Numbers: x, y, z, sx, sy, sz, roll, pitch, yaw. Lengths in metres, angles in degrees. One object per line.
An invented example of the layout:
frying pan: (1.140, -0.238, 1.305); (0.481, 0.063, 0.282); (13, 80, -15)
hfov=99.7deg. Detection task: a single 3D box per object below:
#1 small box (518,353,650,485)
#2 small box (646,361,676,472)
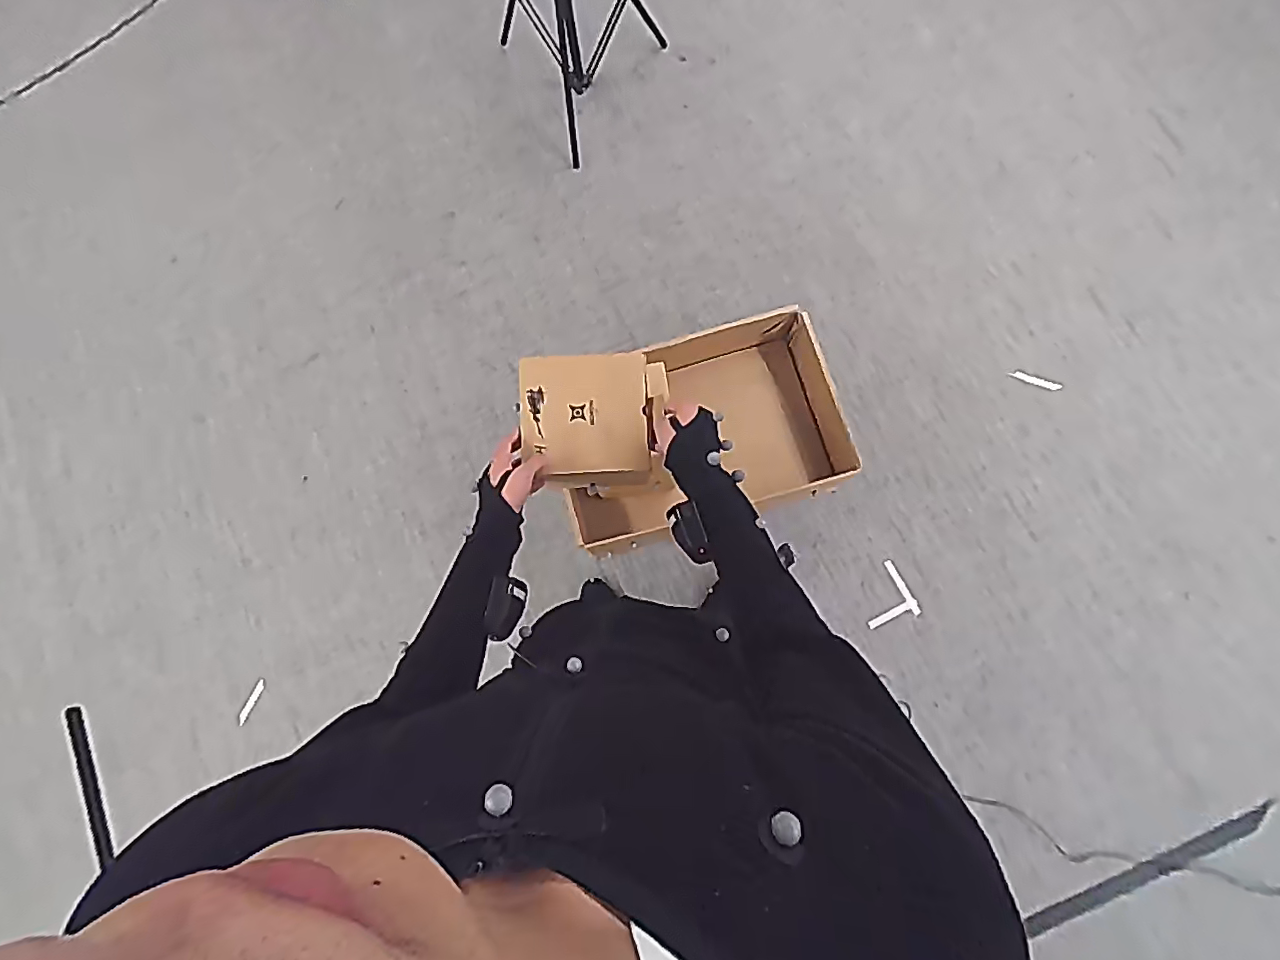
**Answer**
small box: (-0.080, -0.083, 0.807); (0.179, 0.176, 0.168); (-2, 83, -2)
small box: (-0.021, -0.107, 1.044); (0.168, 0.176, 0.179); (-8, 78, 1)
